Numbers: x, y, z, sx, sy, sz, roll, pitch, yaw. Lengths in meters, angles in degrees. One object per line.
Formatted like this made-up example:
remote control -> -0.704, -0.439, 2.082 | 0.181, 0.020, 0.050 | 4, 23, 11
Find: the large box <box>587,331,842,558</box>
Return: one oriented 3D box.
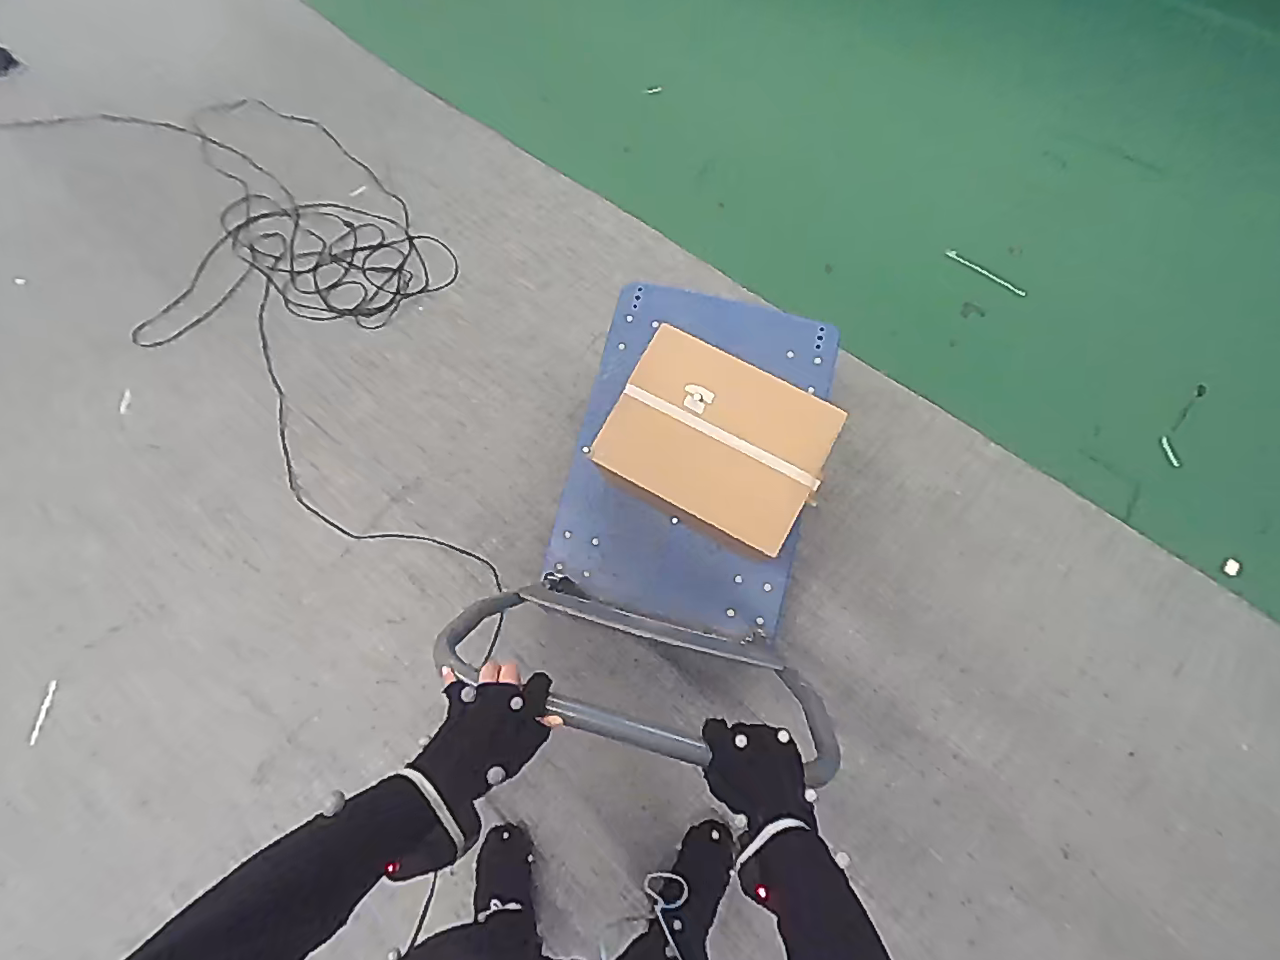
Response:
large box -> 0.153, -0.054, 1.178 | 0.408, 0.320, 0.320 | 28, 83, 8
